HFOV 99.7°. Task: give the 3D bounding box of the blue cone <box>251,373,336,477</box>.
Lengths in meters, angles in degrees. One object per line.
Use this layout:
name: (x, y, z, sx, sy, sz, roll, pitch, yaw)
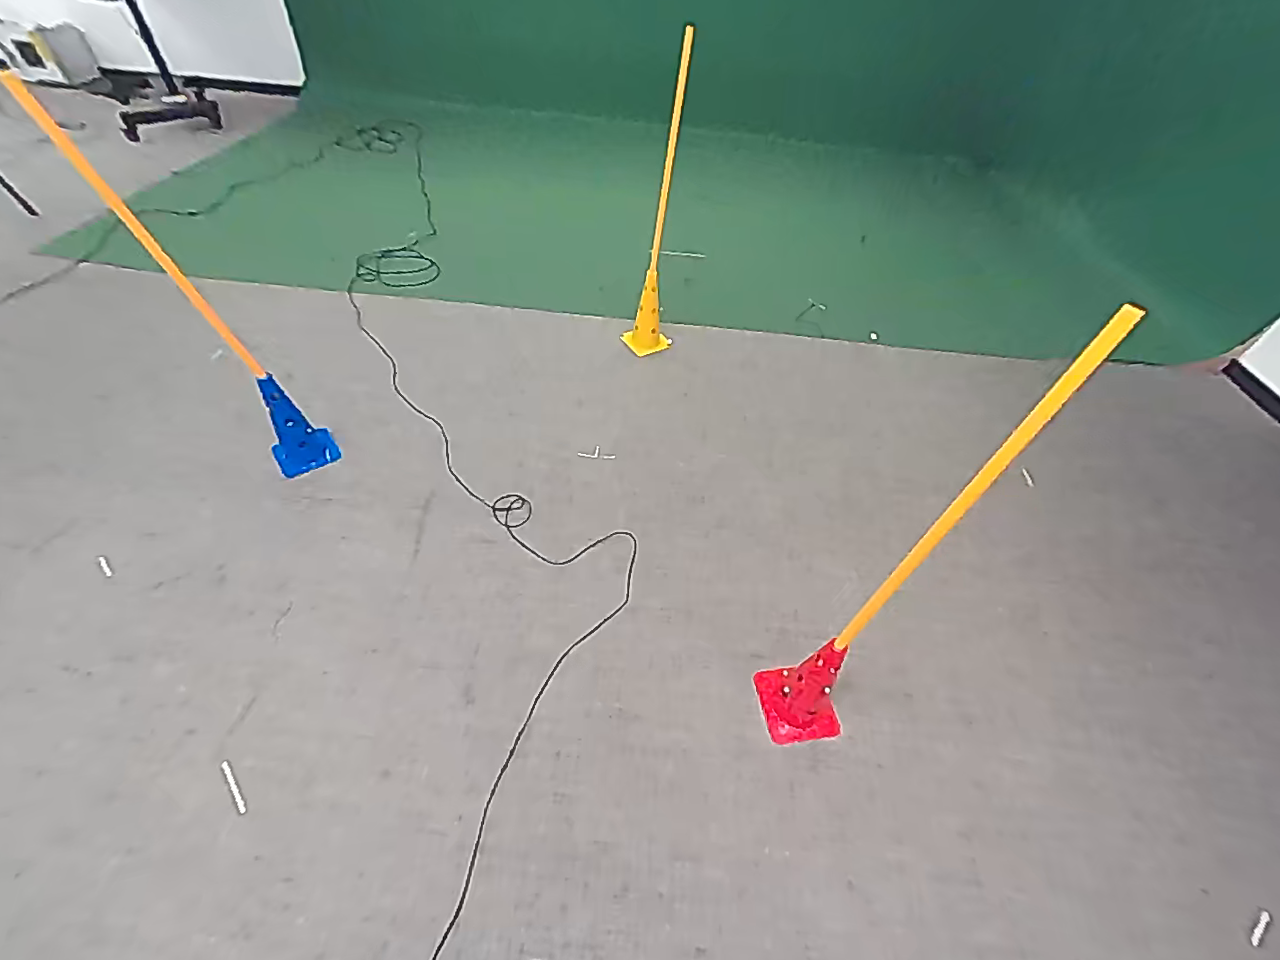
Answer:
blue cone: (-1.225, -0.204, 1.857, 0.193, 0.380, 0.192, -31, 58, -26)
